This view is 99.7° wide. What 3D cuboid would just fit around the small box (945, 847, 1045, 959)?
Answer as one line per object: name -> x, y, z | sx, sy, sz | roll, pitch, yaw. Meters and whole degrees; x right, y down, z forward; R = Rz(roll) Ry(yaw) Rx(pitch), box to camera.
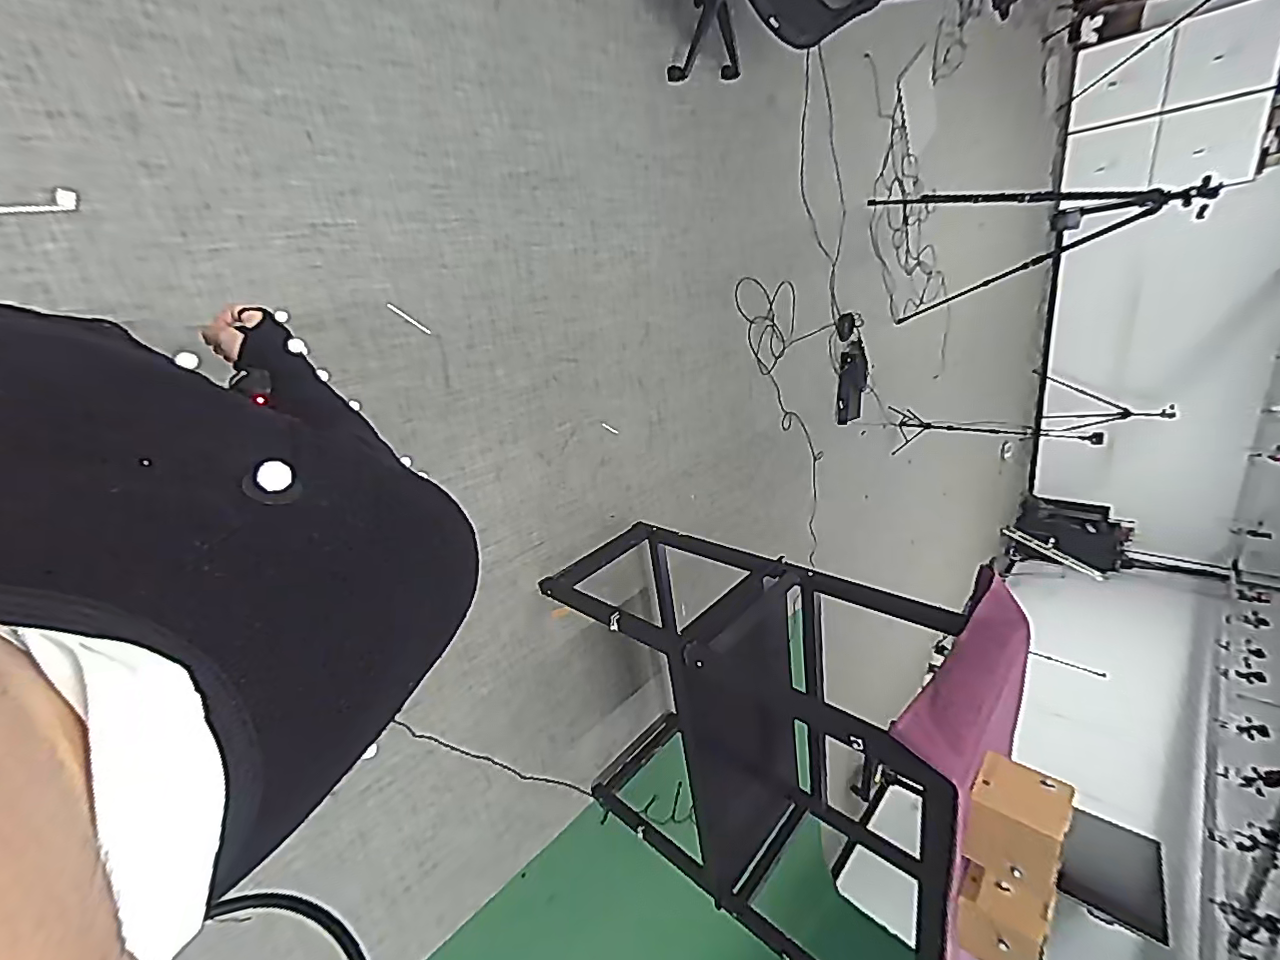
small box -> 0.854, 1.037, 1.305 | 0.168, 0.176, 0.179 | -24, 114, -41
